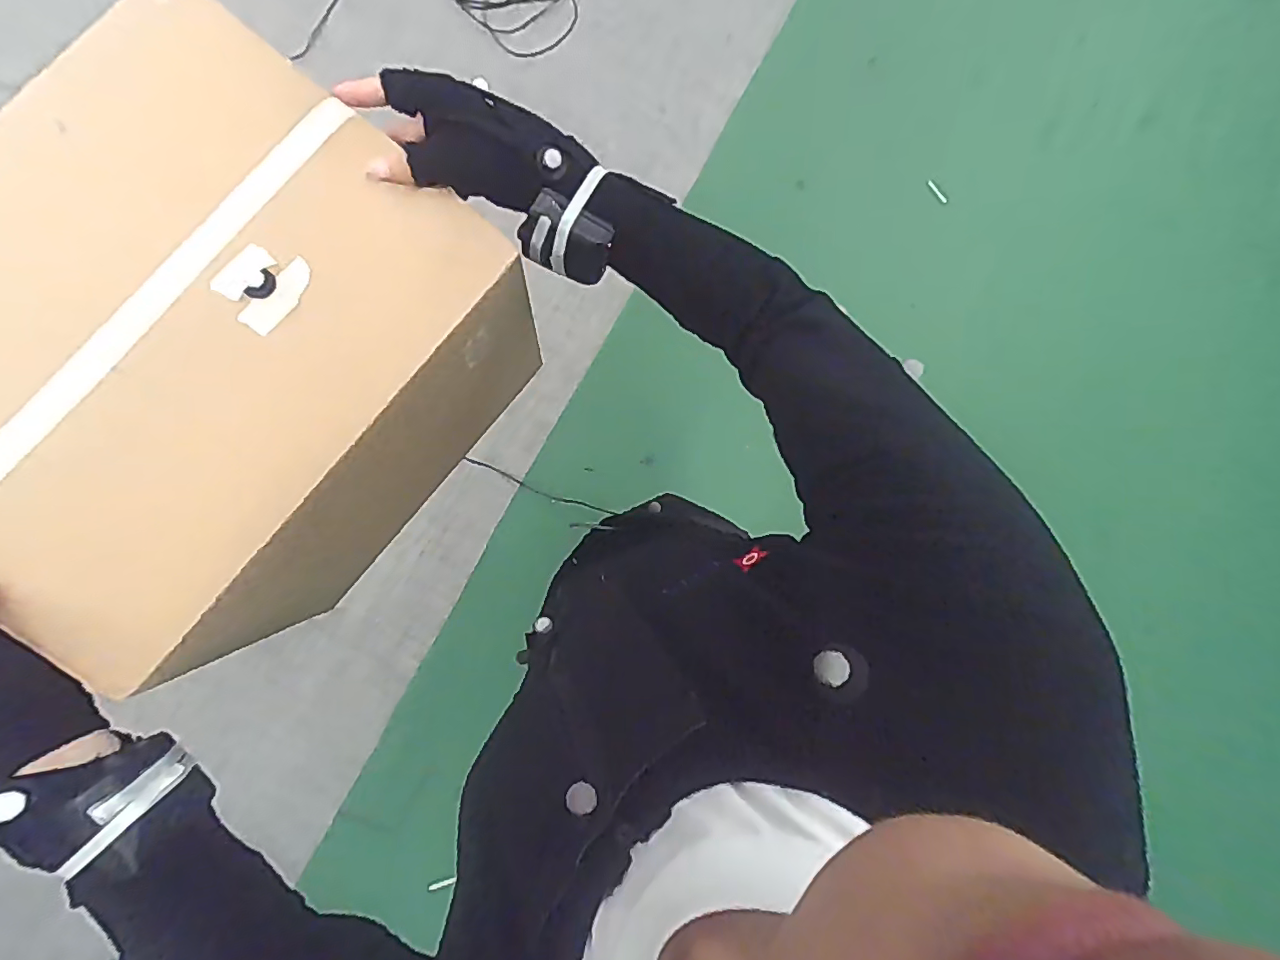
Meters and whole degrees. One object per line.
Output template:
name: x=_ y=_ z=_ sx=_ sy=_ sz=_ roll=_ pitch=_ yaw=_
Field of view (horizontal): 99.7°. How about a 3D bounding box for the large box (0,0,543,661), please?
large box: x=-0.344 y=-0.111 z=0.528 sx=0.320 sy=0.320 sz=0.408 roll=39 pitch=83 yaw=-4
